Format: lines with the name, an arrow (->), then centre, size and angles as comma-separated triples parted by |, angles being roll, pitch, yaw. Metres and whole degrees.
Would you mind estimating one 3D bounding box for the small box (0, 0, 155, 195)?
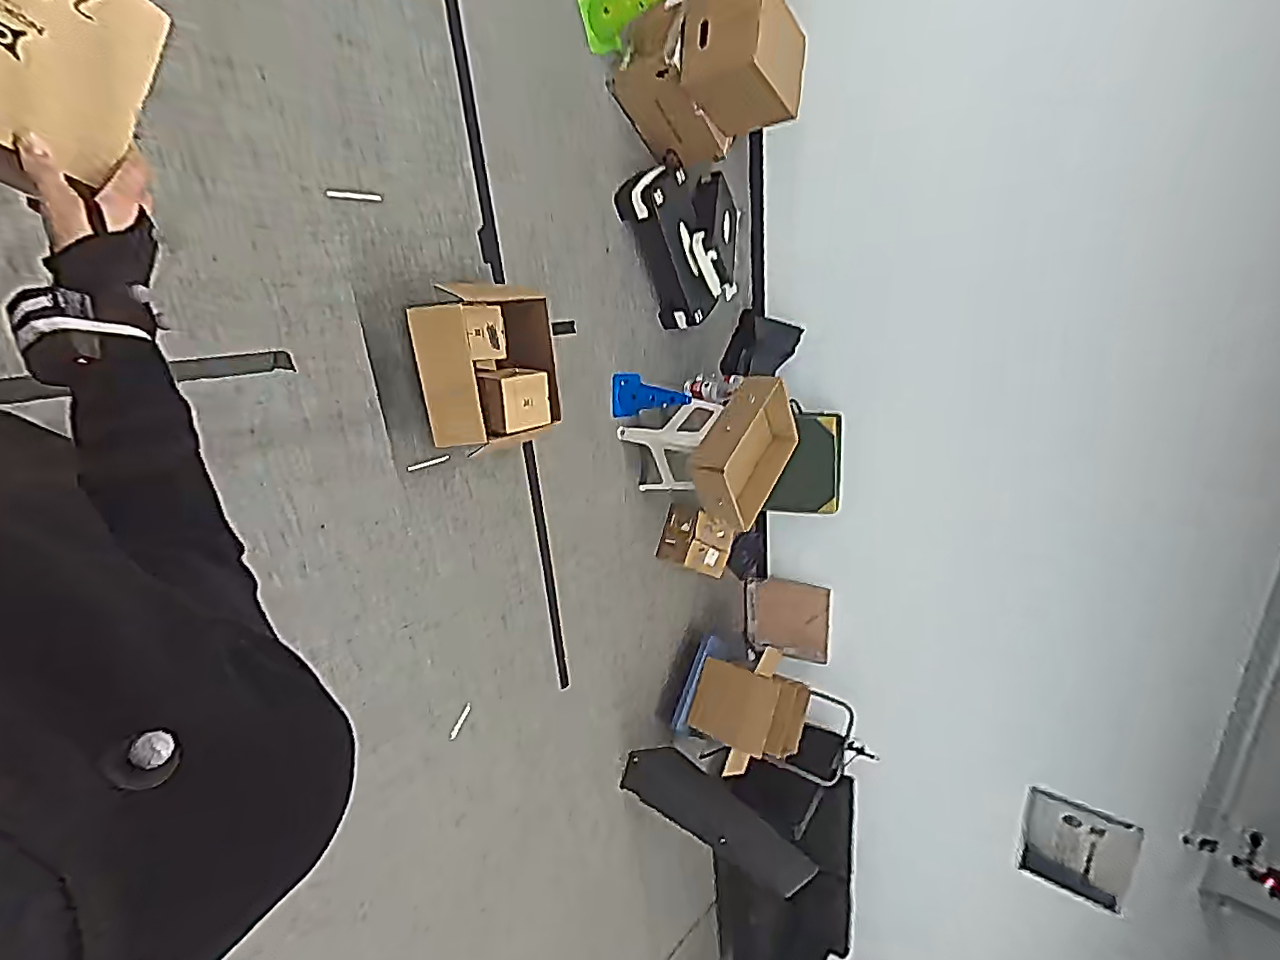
small box -> -0.561, -0.367, 0.451 | 0.168, 0.176, 0.179 | 20, 84, -59
